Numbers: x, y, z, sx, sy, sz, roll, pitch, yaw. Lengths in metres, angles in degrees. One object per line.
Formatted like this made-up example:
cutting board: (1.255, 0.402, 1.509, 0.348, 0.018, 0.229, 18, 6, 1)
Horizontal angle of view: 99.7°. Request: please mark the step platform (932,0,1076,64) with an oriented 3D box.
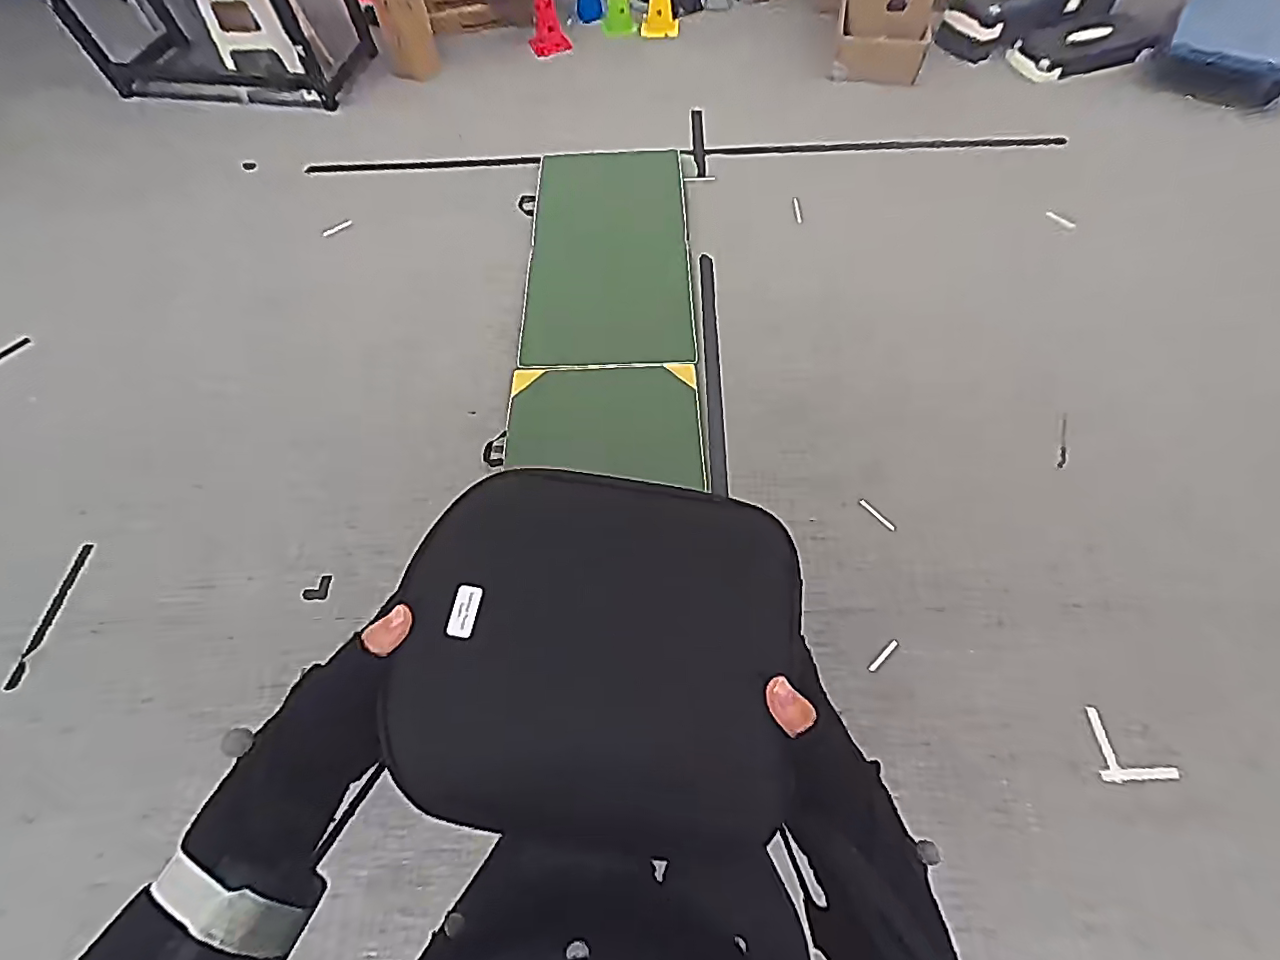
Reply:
step platform: (1.839, -2.340, 2.713, 0.684, 0.204, 0.286, -27, 65, -12)
